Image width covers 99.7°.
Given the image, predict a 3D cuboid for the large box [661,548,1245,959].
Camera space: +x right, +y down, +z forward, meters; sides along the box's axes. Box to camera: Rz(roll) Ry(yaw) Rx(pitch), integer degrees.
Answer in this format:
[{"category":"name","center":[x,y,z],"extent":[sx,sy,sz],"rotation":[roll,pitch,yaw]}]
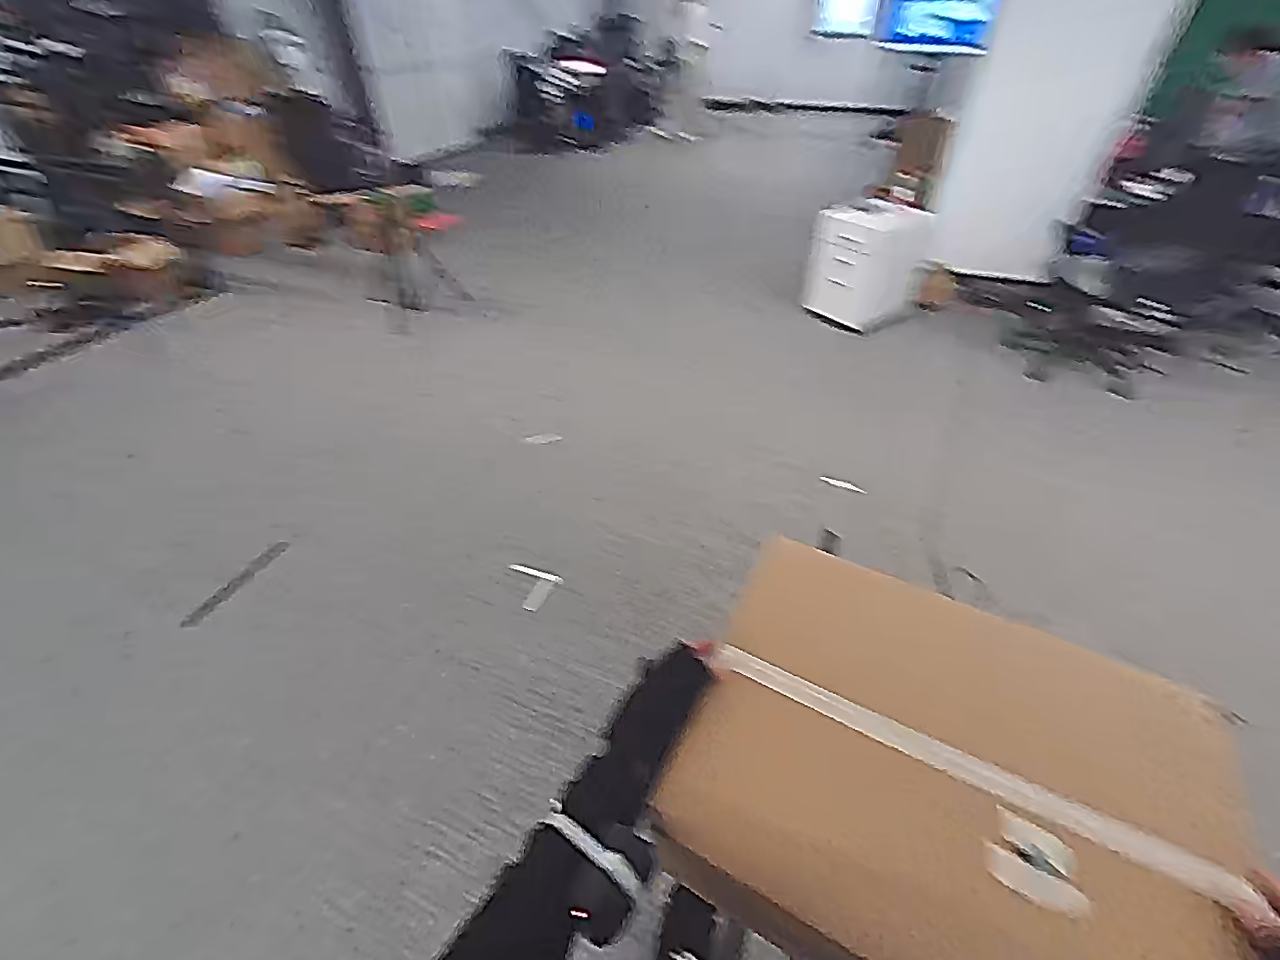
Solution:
[{"category":"large box","center":[0.265,0.338,0.573],"extent":[0.408,0.320,0.320],"rotation":[21,54,21]}]
